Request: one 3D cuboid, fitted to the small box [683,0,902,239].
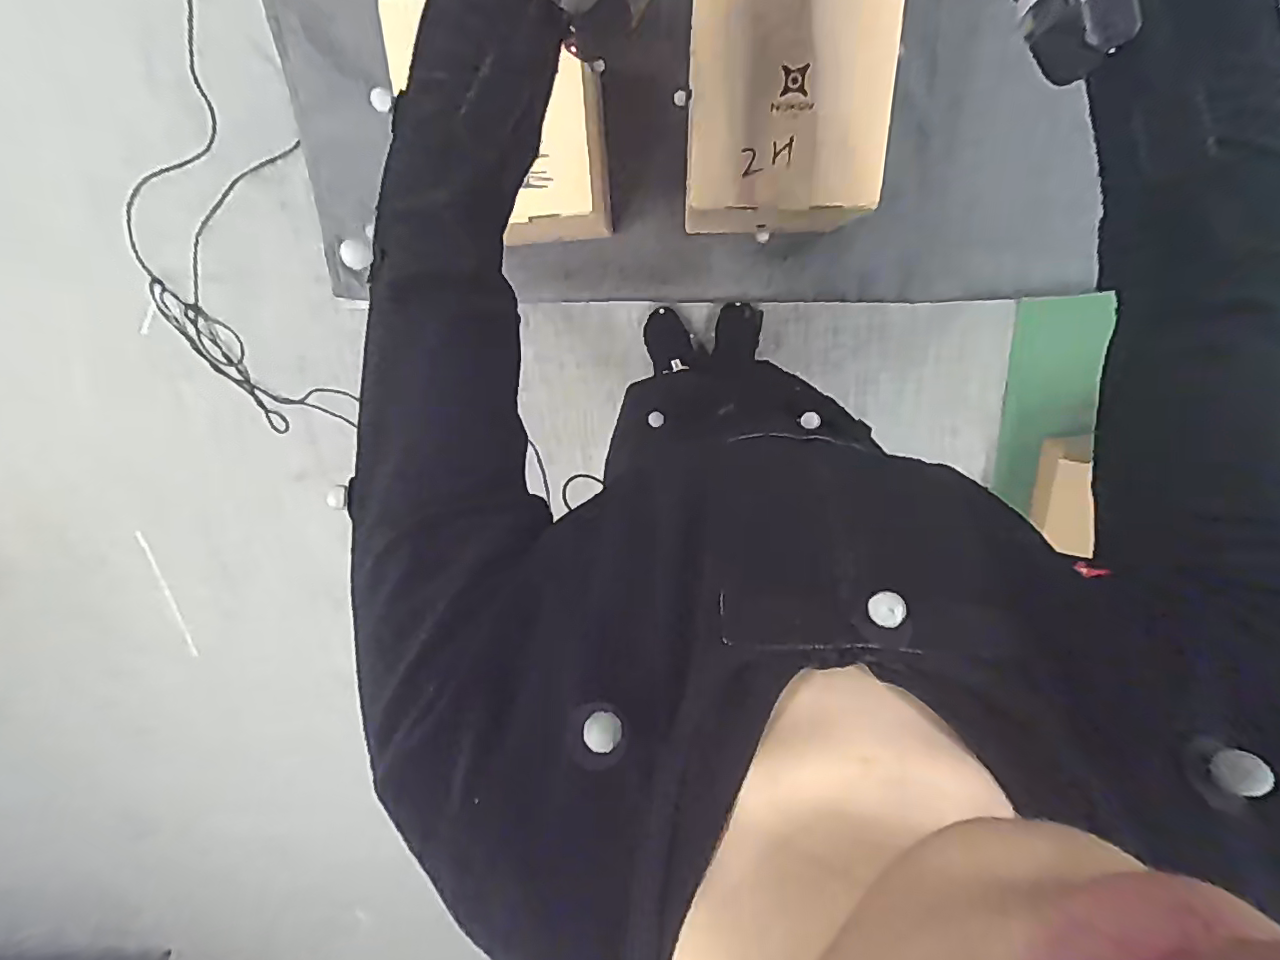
[{"bbox_3d":[0.129,-0.342,0.528,0.168,0.176,0.179,2,108,3],"label":"small box"}]
